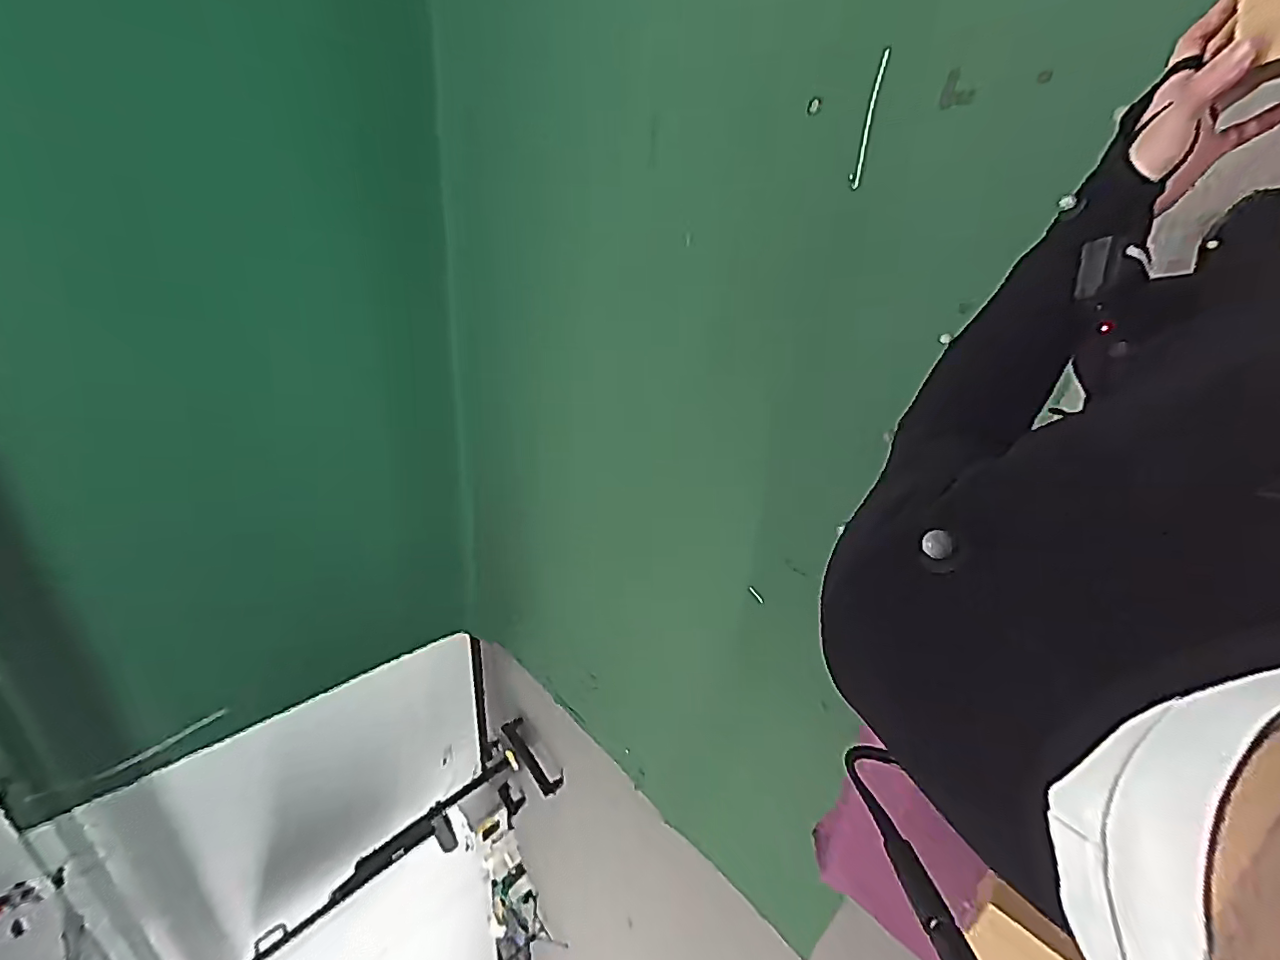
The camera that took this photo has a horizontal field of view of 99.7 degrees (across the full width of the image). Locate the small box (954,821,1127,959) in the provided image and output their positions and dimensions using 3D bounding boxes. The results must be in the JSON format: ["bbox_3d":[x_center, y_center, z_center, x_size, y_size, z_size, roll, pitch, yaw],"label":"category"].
[{"bbox_3d":[0.649,0.712,0.877,0.168,0.176,0.179,27,125,36],"label":"small box"}]

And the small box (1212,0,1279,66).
[{"bbox_3d":[0.494,-0.390,0.336,0.168,0.176,0.179,10,118,47],"label":"small box"}]
